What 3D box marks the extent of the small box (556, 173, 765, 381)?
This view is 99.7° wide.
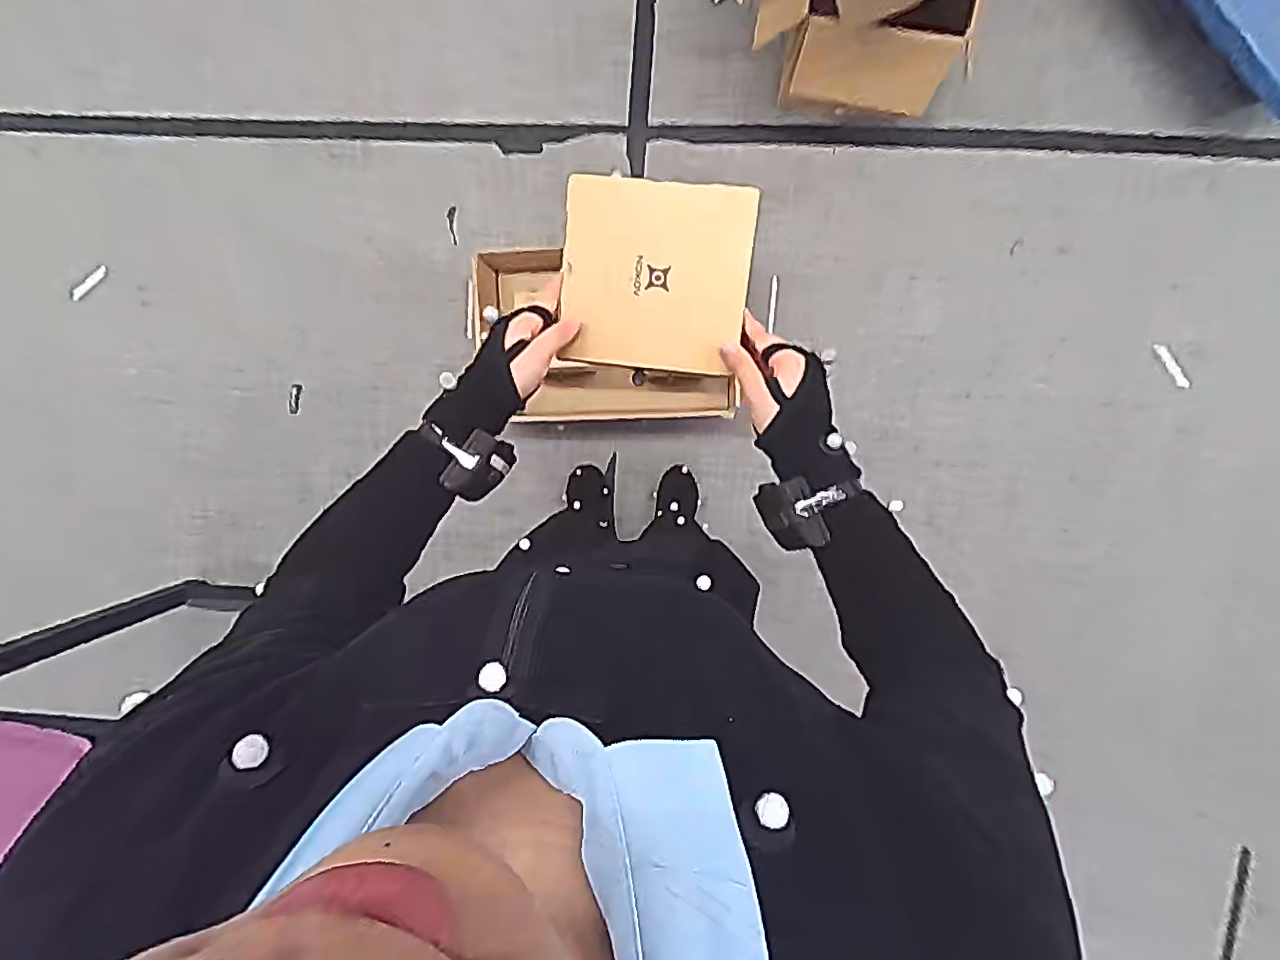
[{"bbox_3d":[0.023,-0.199,0.568,0.179,0.176,0.168,8,102,5],"label":"small box"}]

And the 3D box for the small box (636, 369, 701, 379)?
[{"bbox_3d":[0.080,-0.336,1.303,0.168,0.176,0.179,0,95,3],"label":"small box"}]
